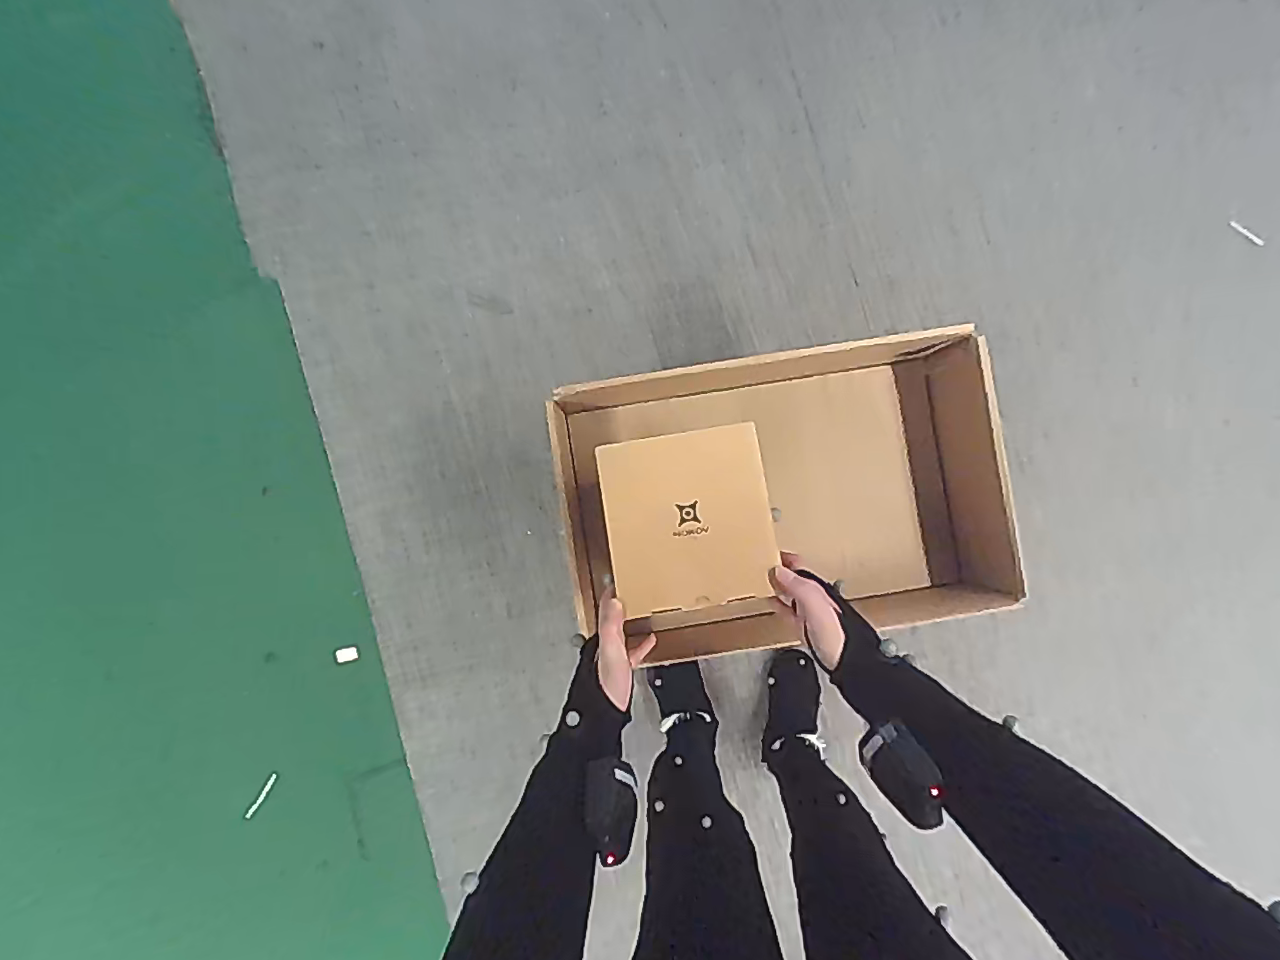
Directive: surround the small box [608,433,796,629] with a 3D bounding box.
[{"bbox_3d":[0.058,0.057,0.605,0.168,0.176,0.179,-8,84,0],"label":"small box"}]
